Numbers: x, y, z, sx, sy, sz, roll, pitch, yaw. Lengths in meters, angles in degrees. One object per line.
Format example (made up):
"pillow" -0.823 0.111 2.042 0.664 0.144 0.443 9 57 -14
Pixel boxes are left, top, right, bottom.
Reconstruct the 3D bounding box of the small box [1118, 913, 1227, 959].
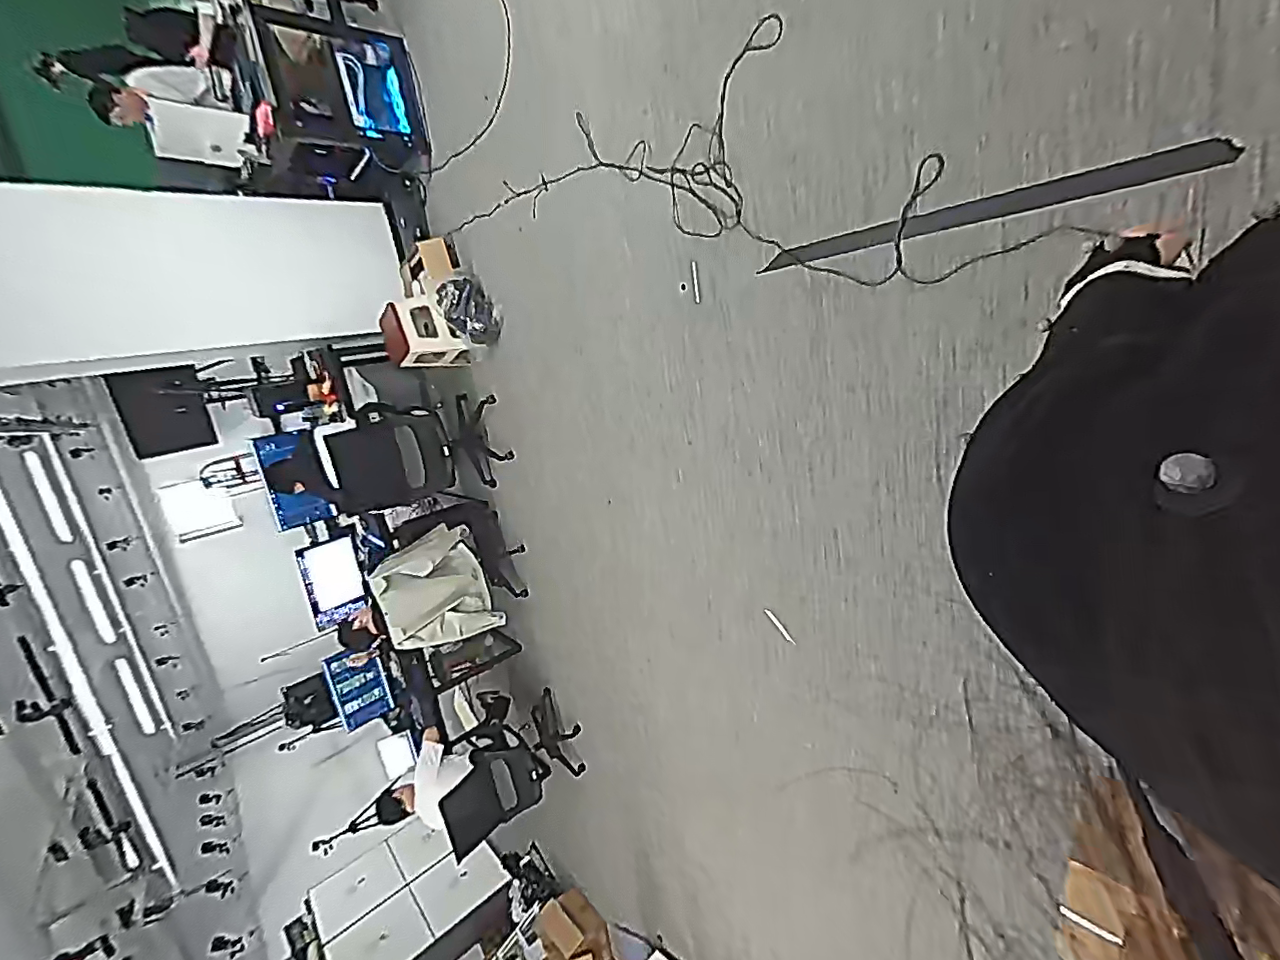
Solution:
"small box" 1.048 1.012 1.051 0.179 0.176 0.168 7 110 50
